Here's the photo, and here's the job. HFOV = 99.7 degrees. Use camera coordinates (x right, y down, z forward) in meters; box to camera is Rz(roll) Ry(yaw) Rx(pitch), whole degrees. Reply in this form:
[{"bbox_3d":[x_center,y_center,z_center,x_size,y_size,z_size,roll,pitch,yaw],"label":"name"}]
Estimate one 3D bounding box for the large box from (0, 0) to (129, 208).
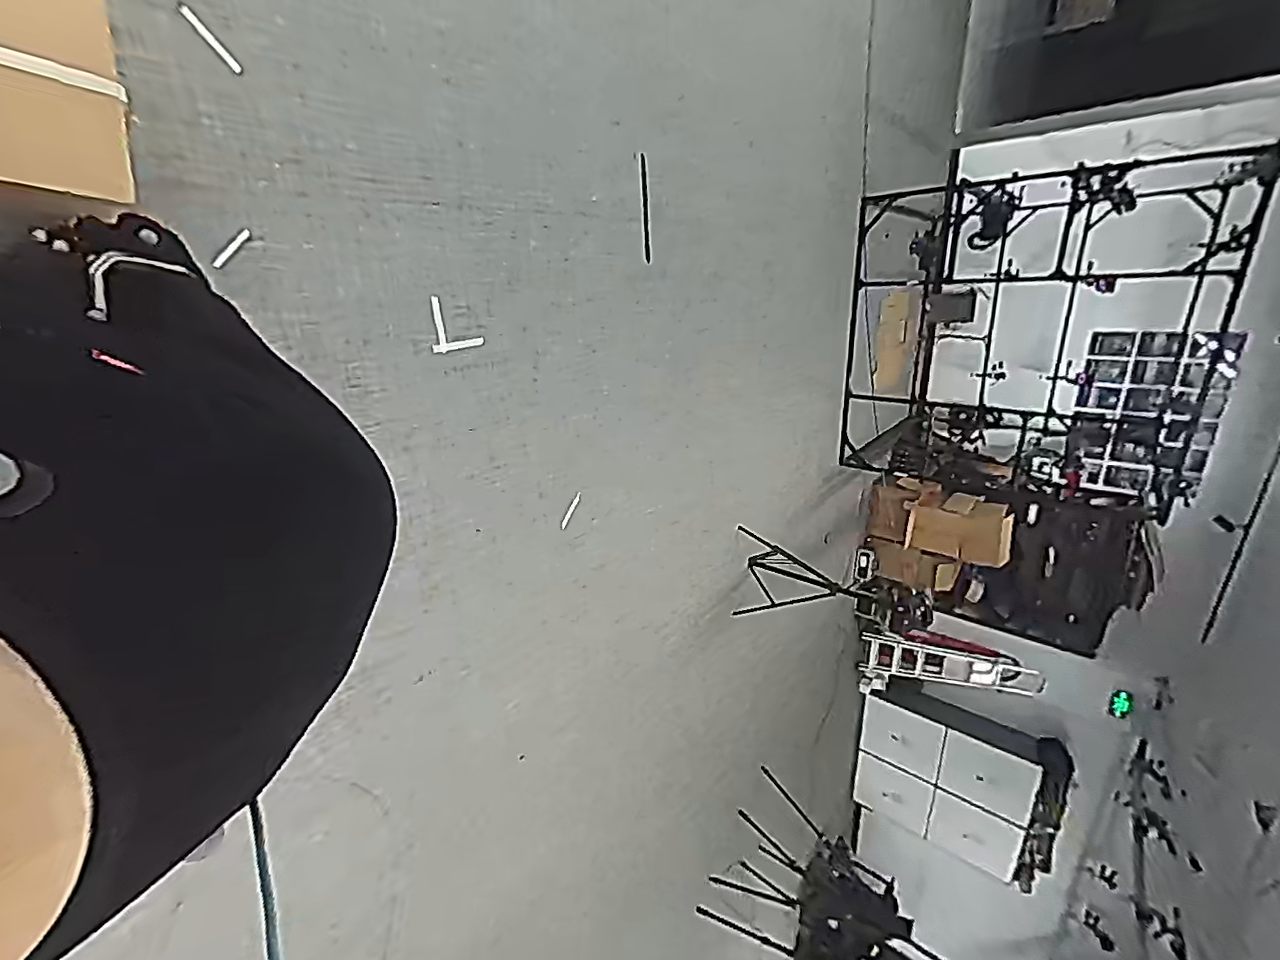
[{"bbox_3d":[-1.040,-0.594,0.755,0.408,0.320,0.320,-16,112,-49],"label":"large box"}]
